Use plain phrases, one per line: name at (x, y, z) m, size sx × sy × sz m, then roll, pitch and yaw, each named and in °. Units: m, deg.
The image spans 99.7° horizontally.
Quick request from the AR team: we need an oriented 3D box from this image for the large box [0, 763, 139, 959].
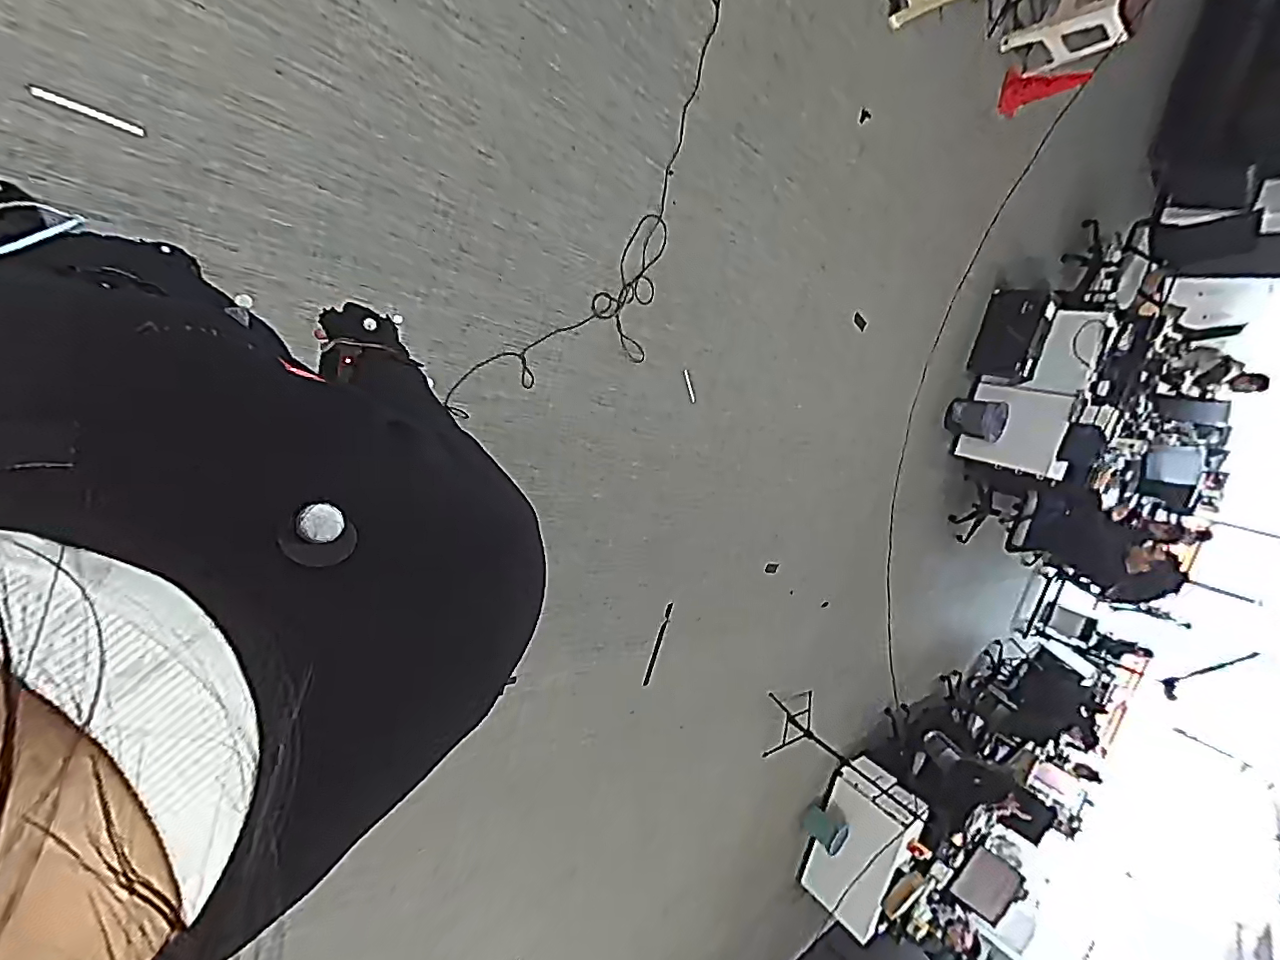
large box at (-1.280, 0.768, 1.017) m, size 0.408 × 0.320 × 0.320 m, roll 36°, pitch 80°, yaw -42°
